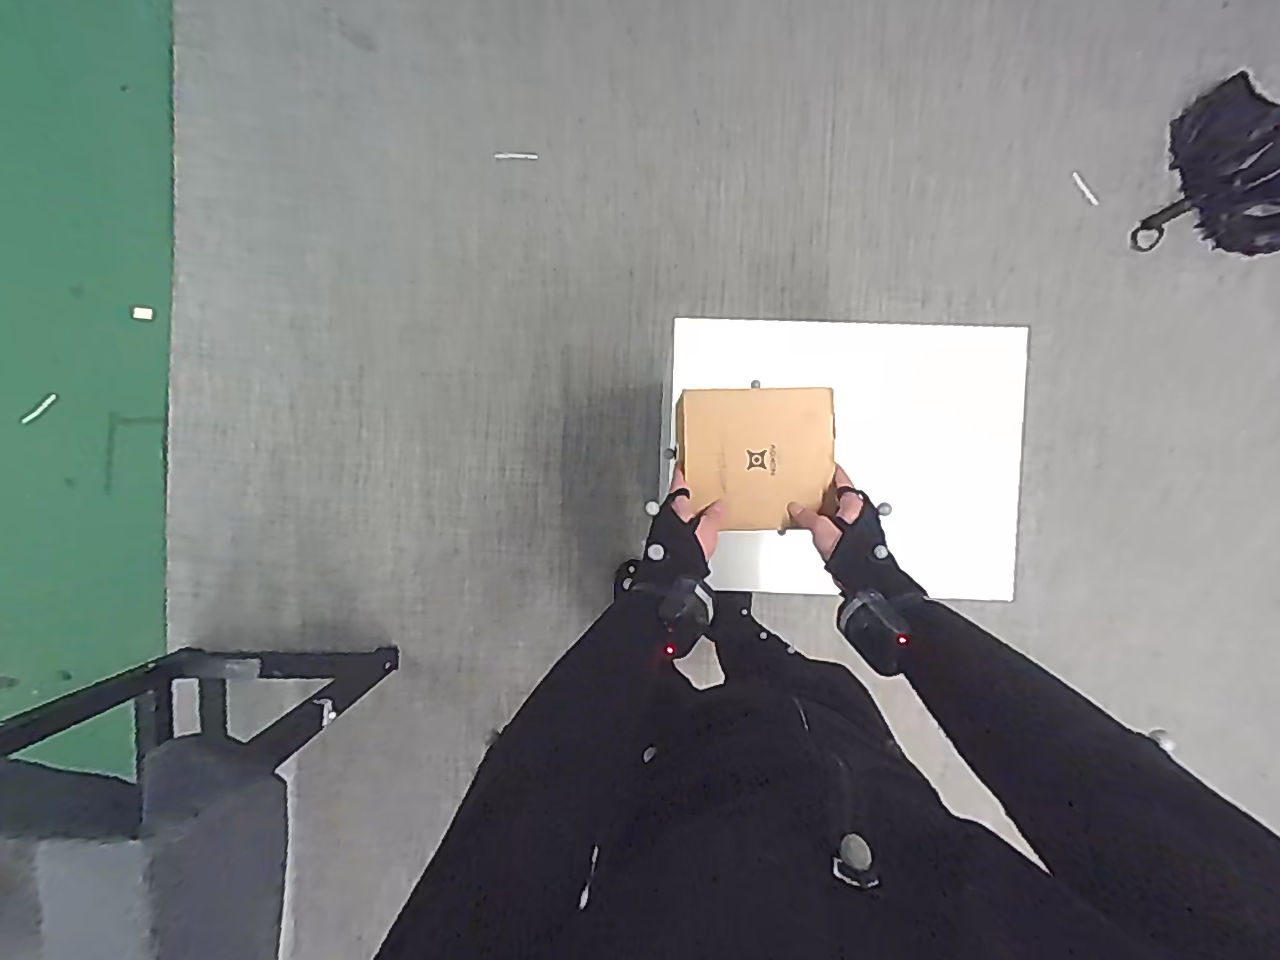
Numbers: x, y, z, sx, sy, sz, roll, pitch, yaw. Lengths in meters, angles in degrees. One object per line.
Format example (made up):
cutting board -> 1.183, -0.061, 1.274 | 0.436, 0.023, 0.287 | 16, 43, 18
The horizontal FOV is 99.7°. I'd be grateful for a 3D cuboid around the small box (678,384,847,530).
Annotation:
small box -> 0.144, -0.026, 0.687 | 0.179, 0.176, 0.168 | -1, 89, -1
